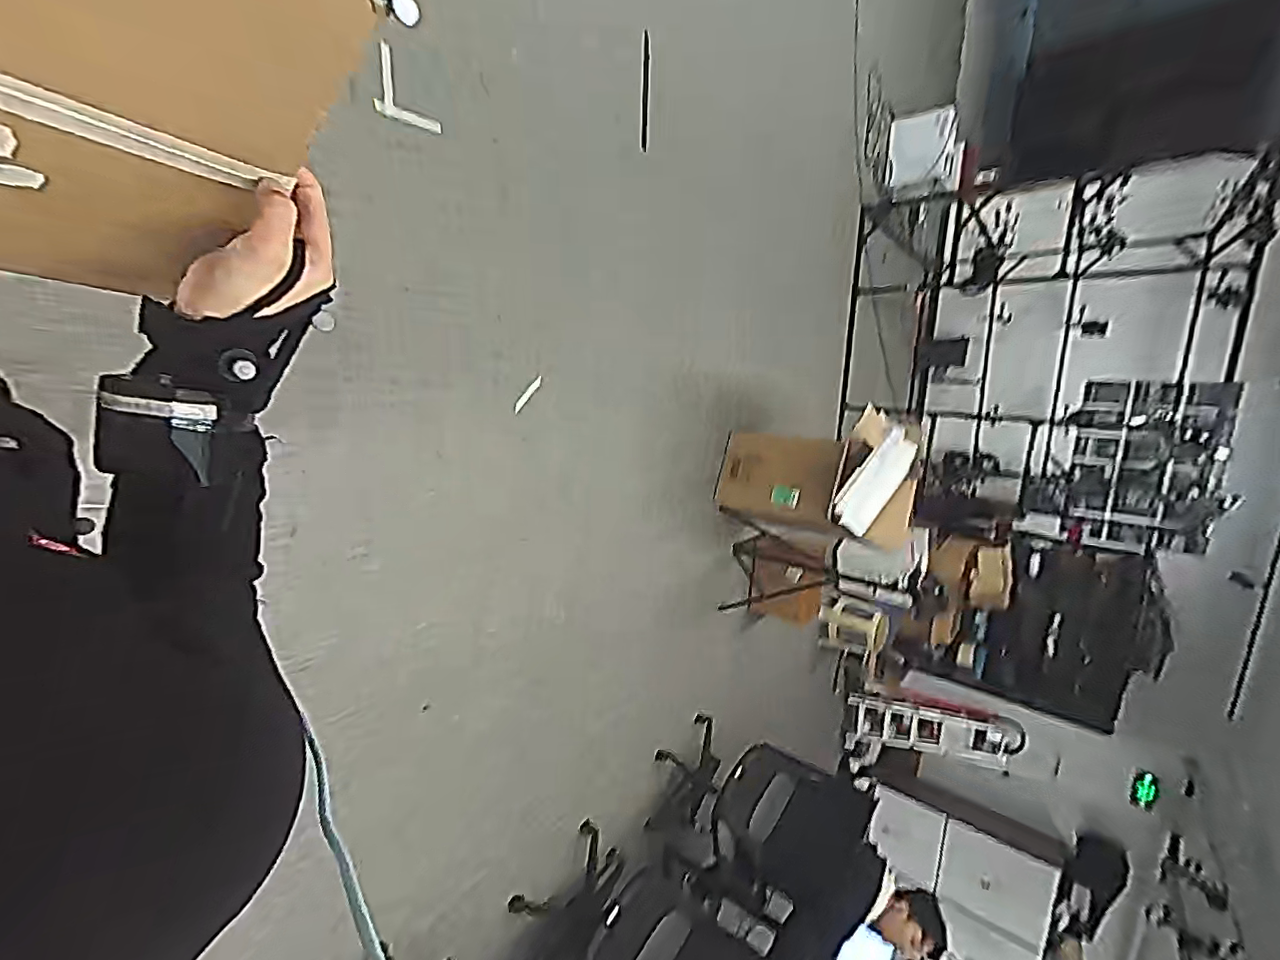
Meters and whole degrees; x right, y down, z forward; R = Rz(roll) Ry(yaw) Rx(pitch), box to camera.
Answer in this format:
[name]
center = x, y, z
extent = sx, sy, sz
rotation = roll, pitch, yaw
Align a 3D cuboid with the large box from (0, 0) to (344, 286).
[large box]
center = -0.403, -0.335, 0.215
extent = 0.408, 0.320, 0.320
rotation = -4, 75, -52
